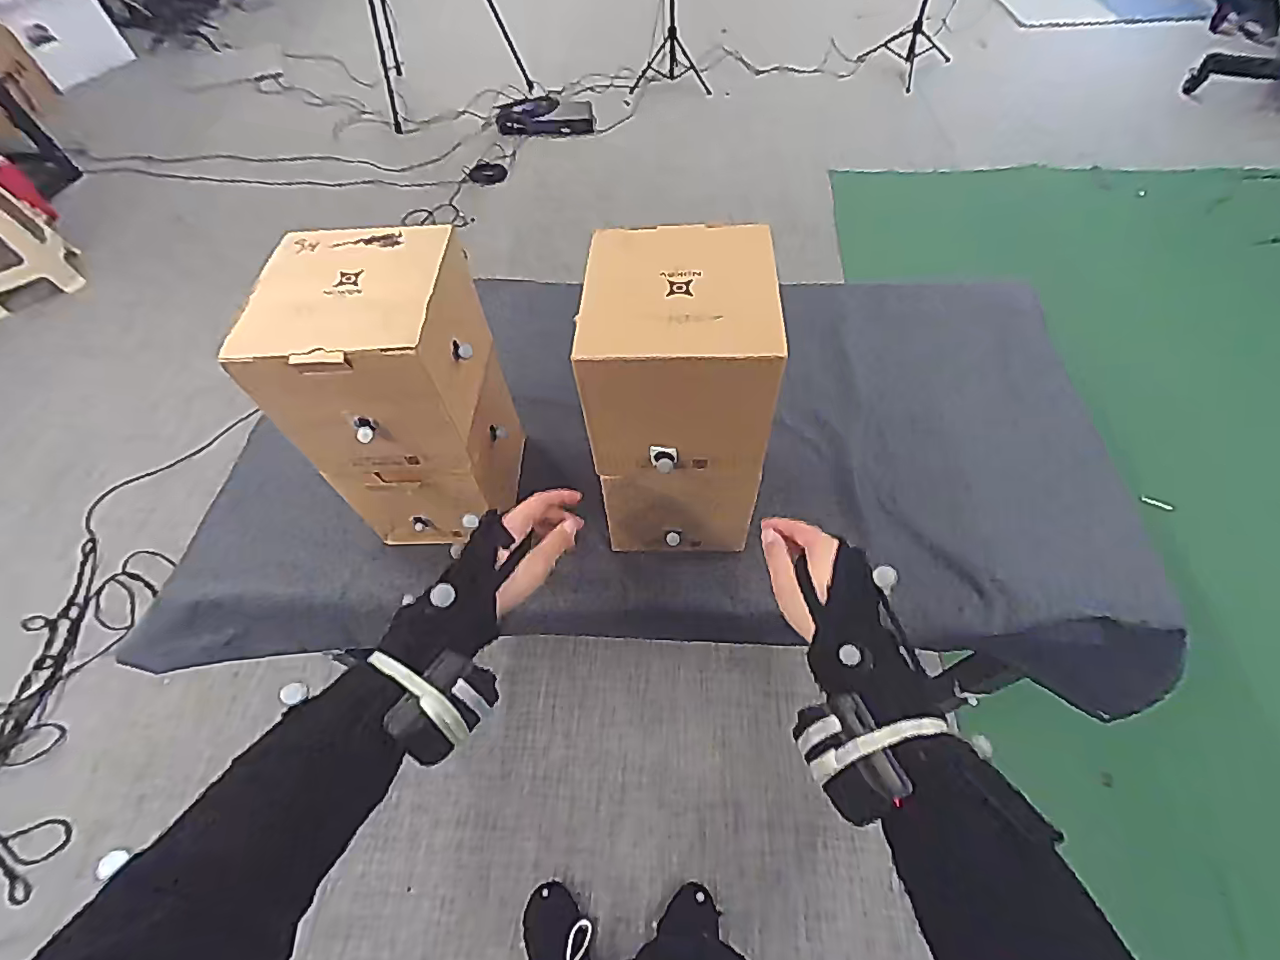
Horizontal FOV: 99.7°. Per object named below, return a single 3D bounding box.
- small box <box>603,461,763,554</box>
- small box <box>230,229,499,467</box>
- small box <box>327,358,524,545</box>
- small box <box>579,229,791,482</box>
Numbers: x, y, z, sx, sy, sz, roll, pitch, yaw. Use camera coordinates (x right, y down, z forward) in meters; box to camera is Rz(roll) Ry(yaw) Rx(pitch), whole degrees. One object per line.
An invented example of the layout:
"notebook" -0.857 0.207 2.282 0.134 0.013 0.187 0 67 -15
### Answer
"small box" 0.049 -0.026 0.660 0.168 0.176 0.179 0 56 3
"small box" -0.251 -0.123 0.547 0.168 0.176 0.179 -2 57 1
"small box" -0.249 -0.034 0.684 0.168 0.176 0.179 -1 56 2
"small box" 0.042 -0.117 0.525 0.168 0.176 0.179 0 56 5
